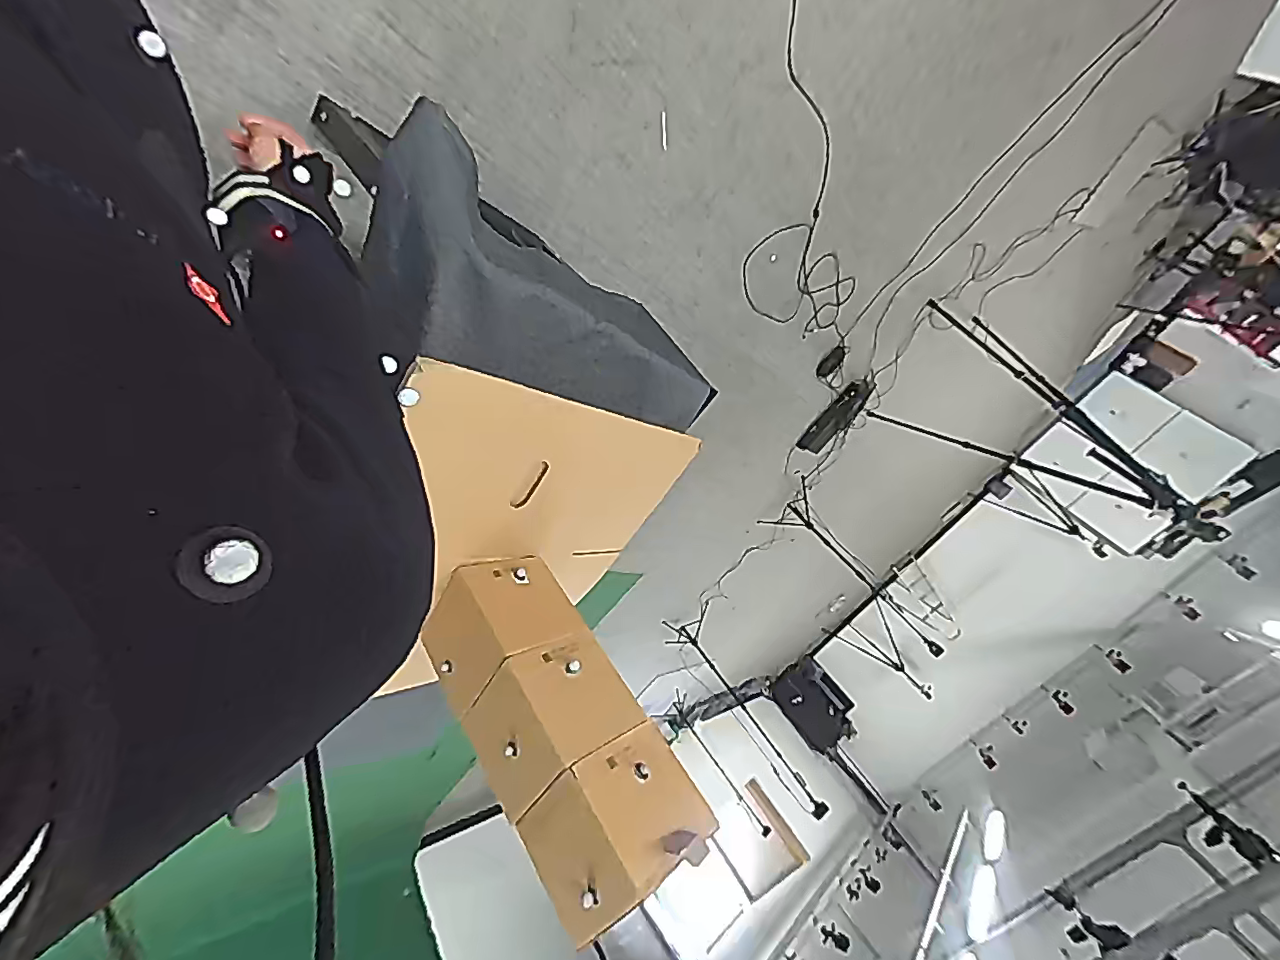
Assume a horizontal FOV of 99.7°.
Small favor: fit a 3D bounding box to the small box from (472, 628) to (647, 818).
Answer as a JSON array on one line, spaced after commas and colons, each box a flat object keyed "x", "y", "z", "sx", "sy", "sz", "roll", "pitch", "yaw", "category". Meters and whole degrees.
[{"x": -0.129, "y": 0.355, "z": 0.814, "sx": 0.168, "sy": 0.176, "sz": 0.179, "roll": -4, "pitch": 135, "yaw": -50, "category": "small box"}]

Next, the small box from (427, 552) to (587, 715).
[{"x": -0.225, "y": 0.243, "z": 0.888, "sx": 0.168, "sy": 0.176, "sz": 0.179, "roll": -3, "pitch": 134, "yaw": -51, "category": "small box"}]

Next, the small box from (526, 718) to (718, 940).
[{"x": -0.033, "y": 0.466, "z": 0.746, "sx": 0.168, "sy": 0.176, "sz": 0.179, "roll": -4, "pitch": 135, "yaw": -50, "category": "small box"}]
